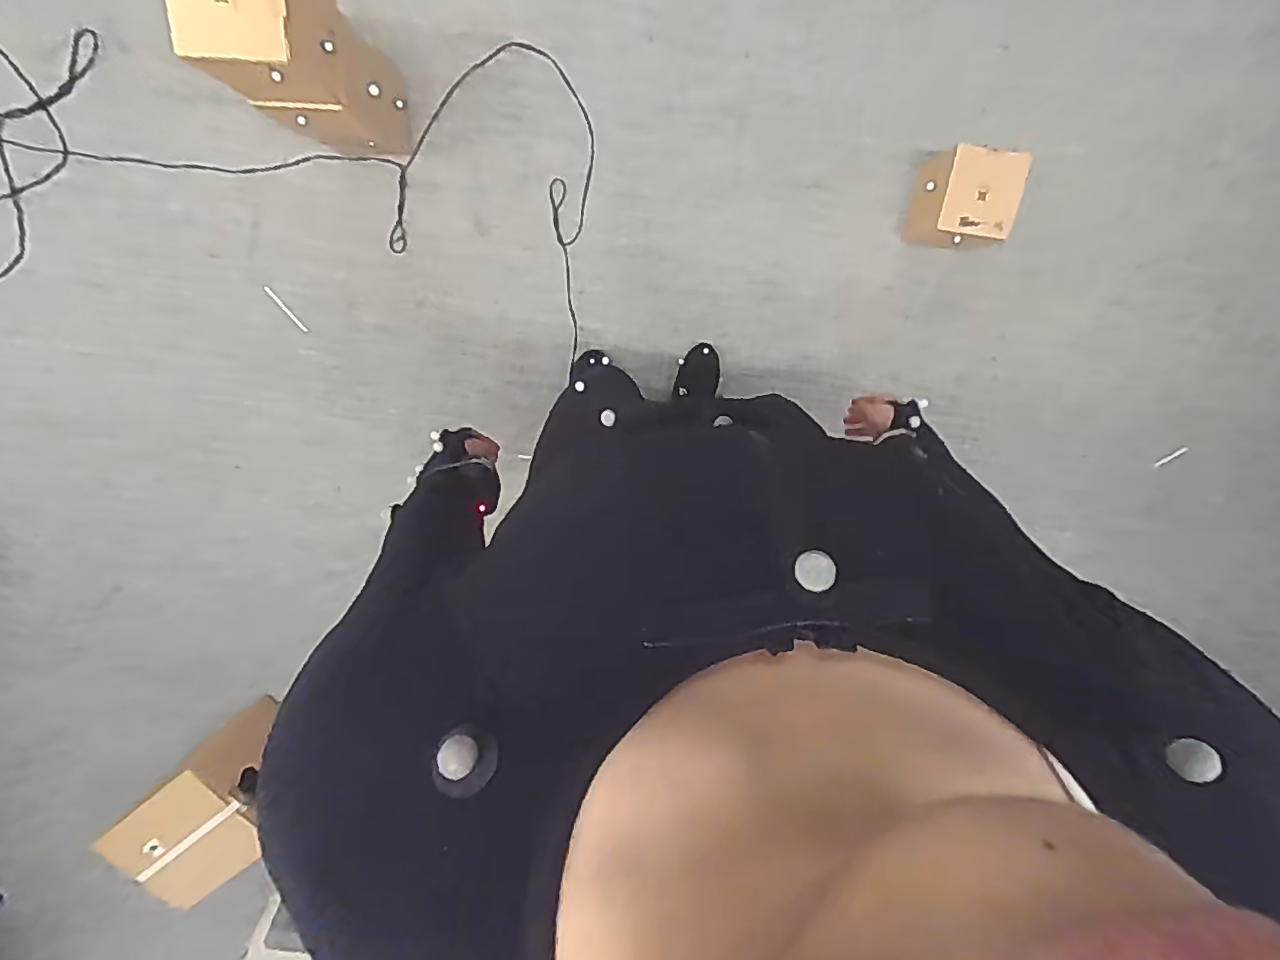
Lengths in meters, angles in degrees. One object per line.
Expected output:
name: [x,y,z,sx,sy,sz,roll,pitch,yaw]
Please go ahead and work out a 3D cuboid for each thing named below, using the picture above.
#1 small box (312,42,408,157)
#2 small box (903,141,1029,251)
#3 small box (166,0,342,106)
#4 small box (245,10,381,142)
small box: [-0.631,-0.833,1.197,0.179,0.176,0.168,-1,104,1]
small box: [0.738,-0.645,1.247,0.168,0.176,0.179,8,104,-2]
small box: [-0.623,-0.739,0.884,0.179,0.176,0.168,2,105,-1]
small box: [-0.628,-0.775,1.043,0.179,0.176,0.168,3,105,-2]
